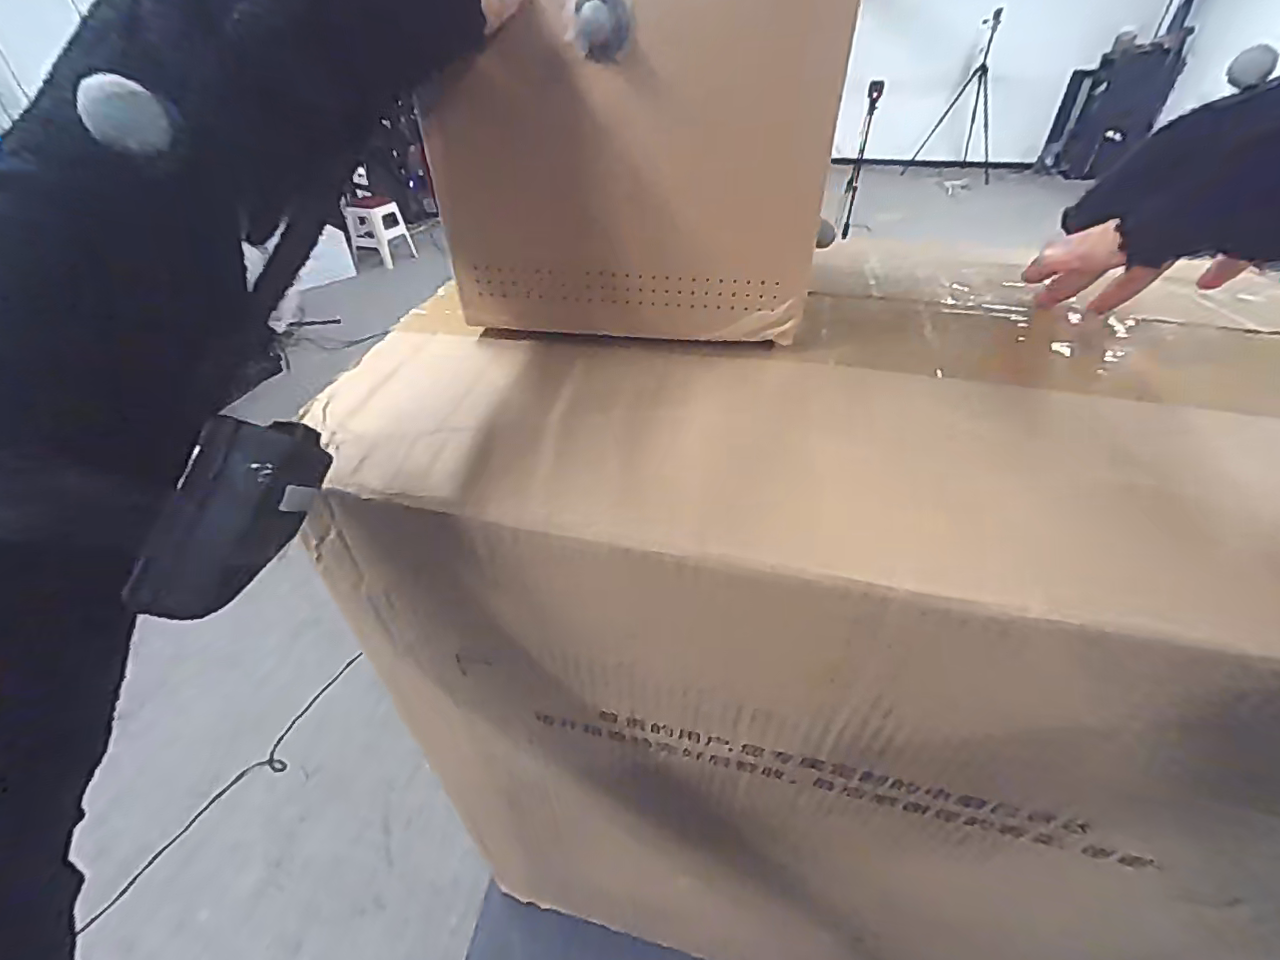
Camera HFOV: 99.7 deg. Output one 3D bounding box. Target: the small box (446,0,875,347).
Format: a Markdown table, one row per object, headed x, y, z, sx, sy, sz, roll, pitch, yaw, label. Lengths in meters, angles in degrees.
| x | y | z | sx | sy | sz | roll | pitch | yaw | label |
| --- | --- | --- | --- | --- | --- | --- | --- | --- | --- |
| 0.015 | -0.186 | 0.296 | 0.179 | 0.176 | 0.168 | 7 | 41 | 7 | small box |
